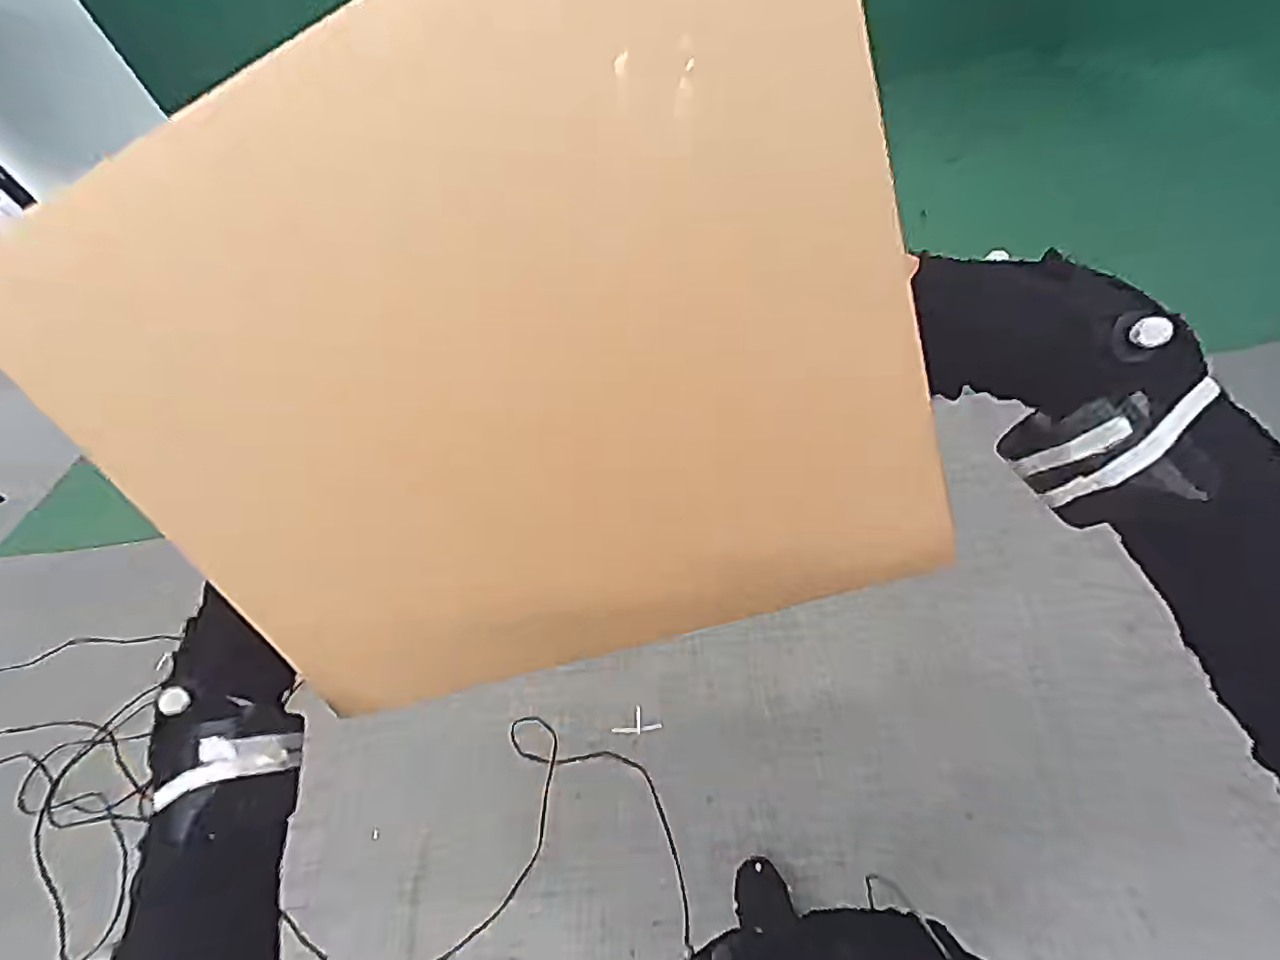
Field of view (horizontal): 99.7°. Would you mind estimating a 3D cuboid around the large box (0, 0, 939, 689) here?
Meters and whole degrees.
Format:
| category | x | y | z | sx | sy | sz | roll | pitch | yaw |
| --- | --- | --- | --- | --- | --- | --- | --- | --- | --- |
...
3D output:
| category | x | y | z | sx | sy | sz | roll | pitch | yaw |
| --- | --- | --- | --- | --- | --- | --- | --- | --- | --- |
| large box | -0.062 | -0.100 | 0.406 | 0.408 | 0.320 | 0.320 | -17 | 26 | 13 |
